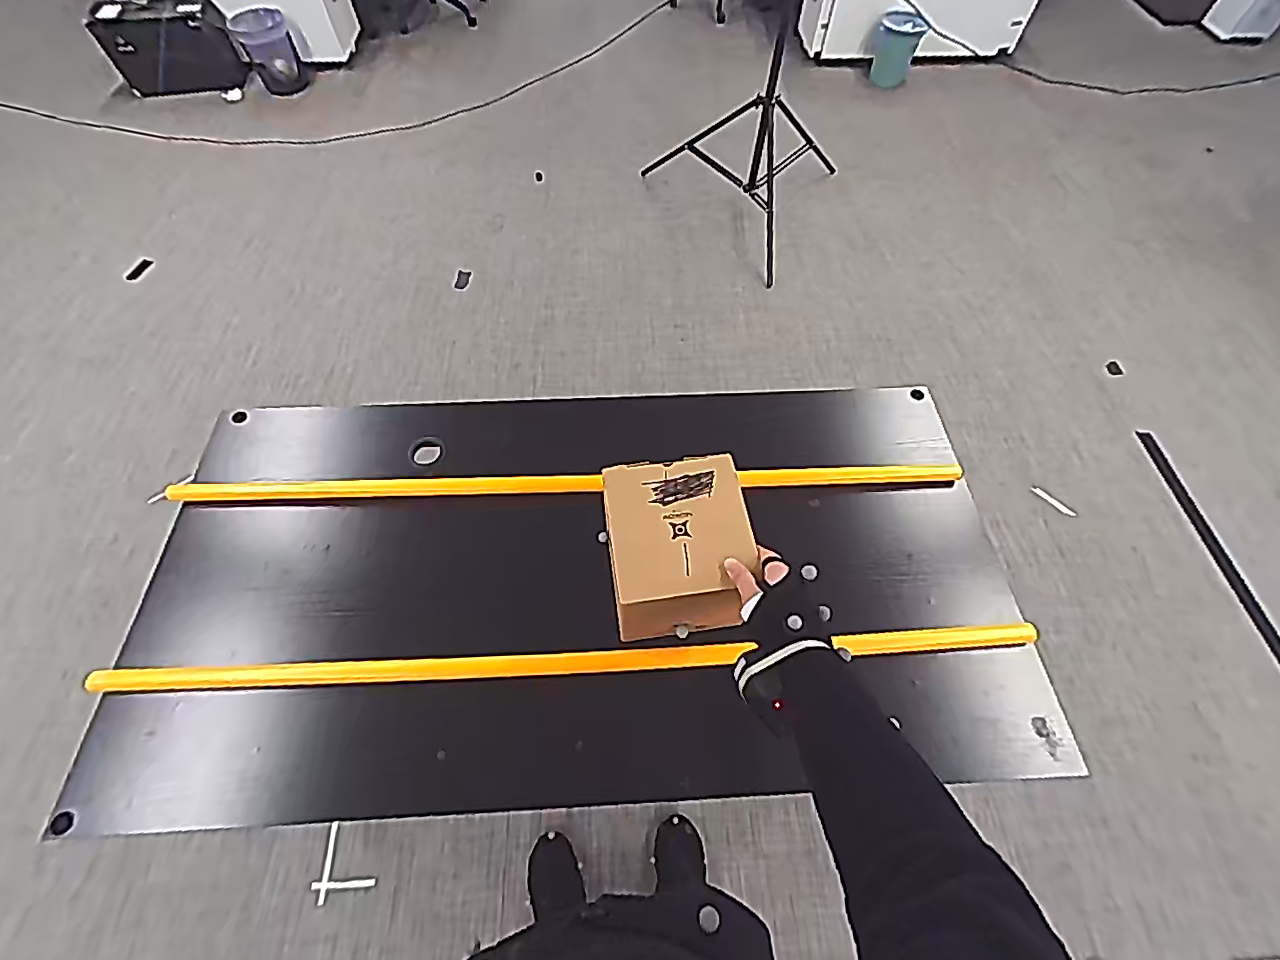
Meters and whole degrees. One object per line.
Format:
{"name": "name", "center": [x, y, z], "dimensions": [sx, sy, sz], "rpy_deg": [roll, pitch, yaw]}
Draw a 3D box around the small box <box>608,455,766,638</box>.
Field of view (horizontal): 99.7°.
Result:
{"name": "small box", "center": [0.049, 0.091, 0.706], "dimensions": [0.168, 0.176, 0.179], "rpy_deg": [-7, 61, -4]}
